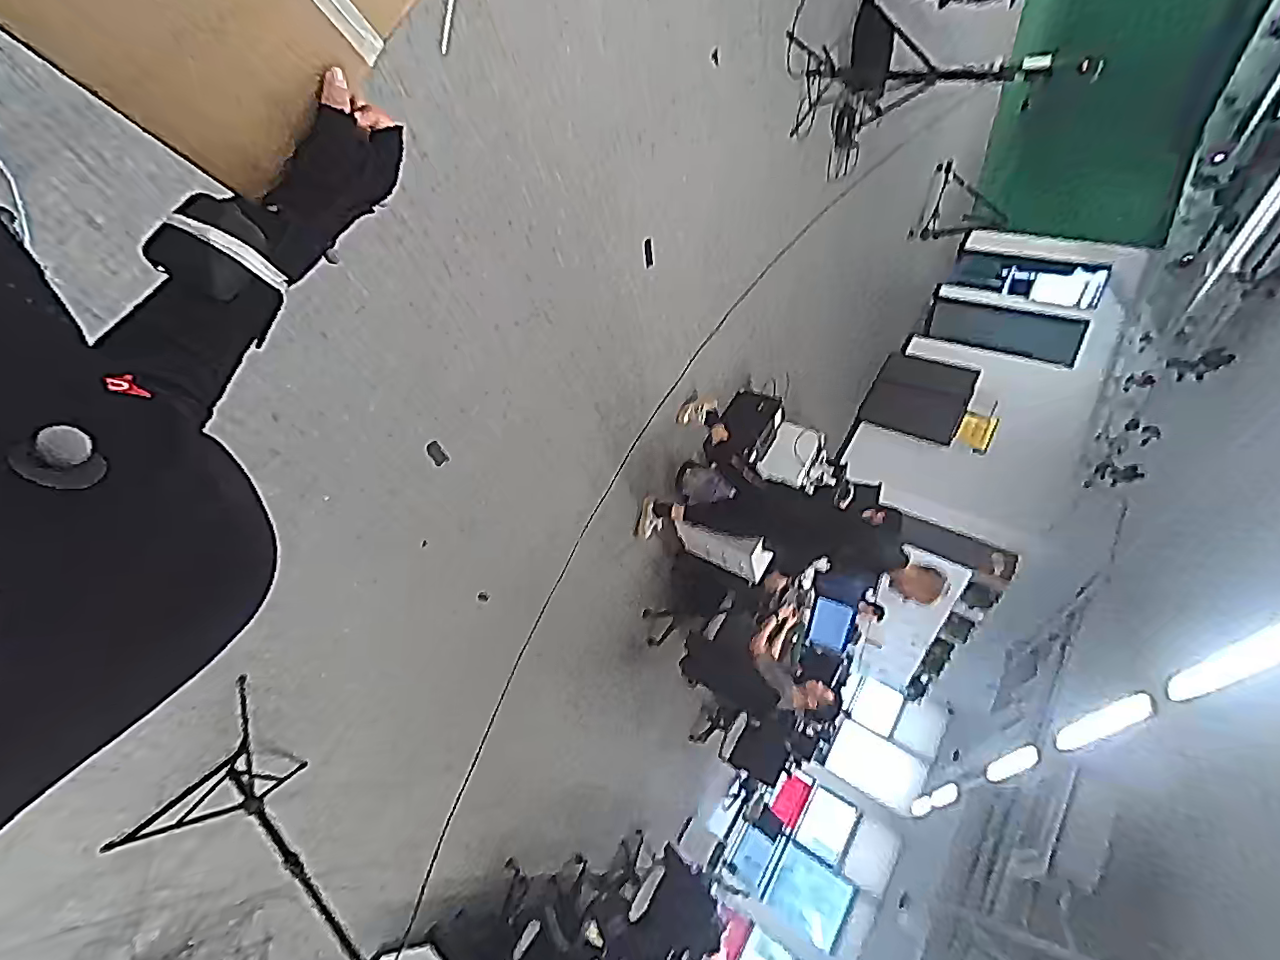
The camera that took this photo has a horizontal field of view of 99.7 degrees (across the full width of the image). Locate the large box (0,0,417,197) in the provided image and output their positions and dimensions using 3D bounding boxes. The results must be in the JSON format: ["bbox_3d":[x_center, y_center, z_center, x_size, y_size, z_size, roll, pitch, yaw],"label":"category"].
[{"bbox_3d":[-0.399,-0.486,0.341,0.320,0.320,0.408,-51,152,2],"label":"large box"}]
